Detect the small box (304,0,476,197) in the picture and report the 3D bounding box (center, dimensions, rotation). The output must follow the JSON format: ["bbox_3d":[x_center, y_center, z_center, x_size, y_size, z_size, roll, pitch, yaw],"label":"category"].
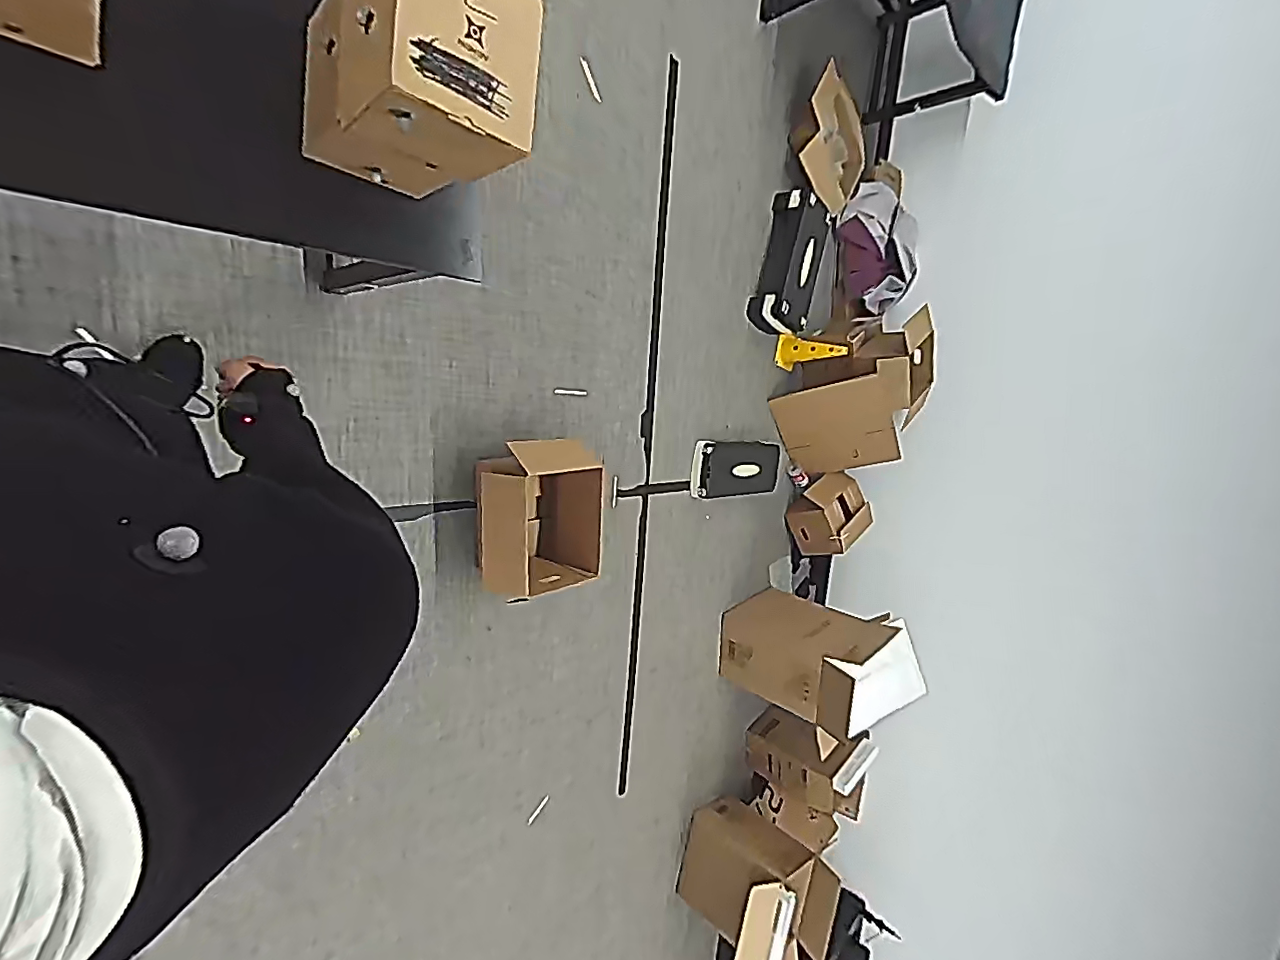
[{"bbox_3d":[-0.348,-0.524,0.748,0.168,0.176,0.179,1,99,-45],"label":"small box"}]

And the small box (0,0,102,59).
[{"bbox_3d":[-0.605,-0.533,0.482,0.168,0.176,0.179,-5,104,-45],"label":"small box"}]
